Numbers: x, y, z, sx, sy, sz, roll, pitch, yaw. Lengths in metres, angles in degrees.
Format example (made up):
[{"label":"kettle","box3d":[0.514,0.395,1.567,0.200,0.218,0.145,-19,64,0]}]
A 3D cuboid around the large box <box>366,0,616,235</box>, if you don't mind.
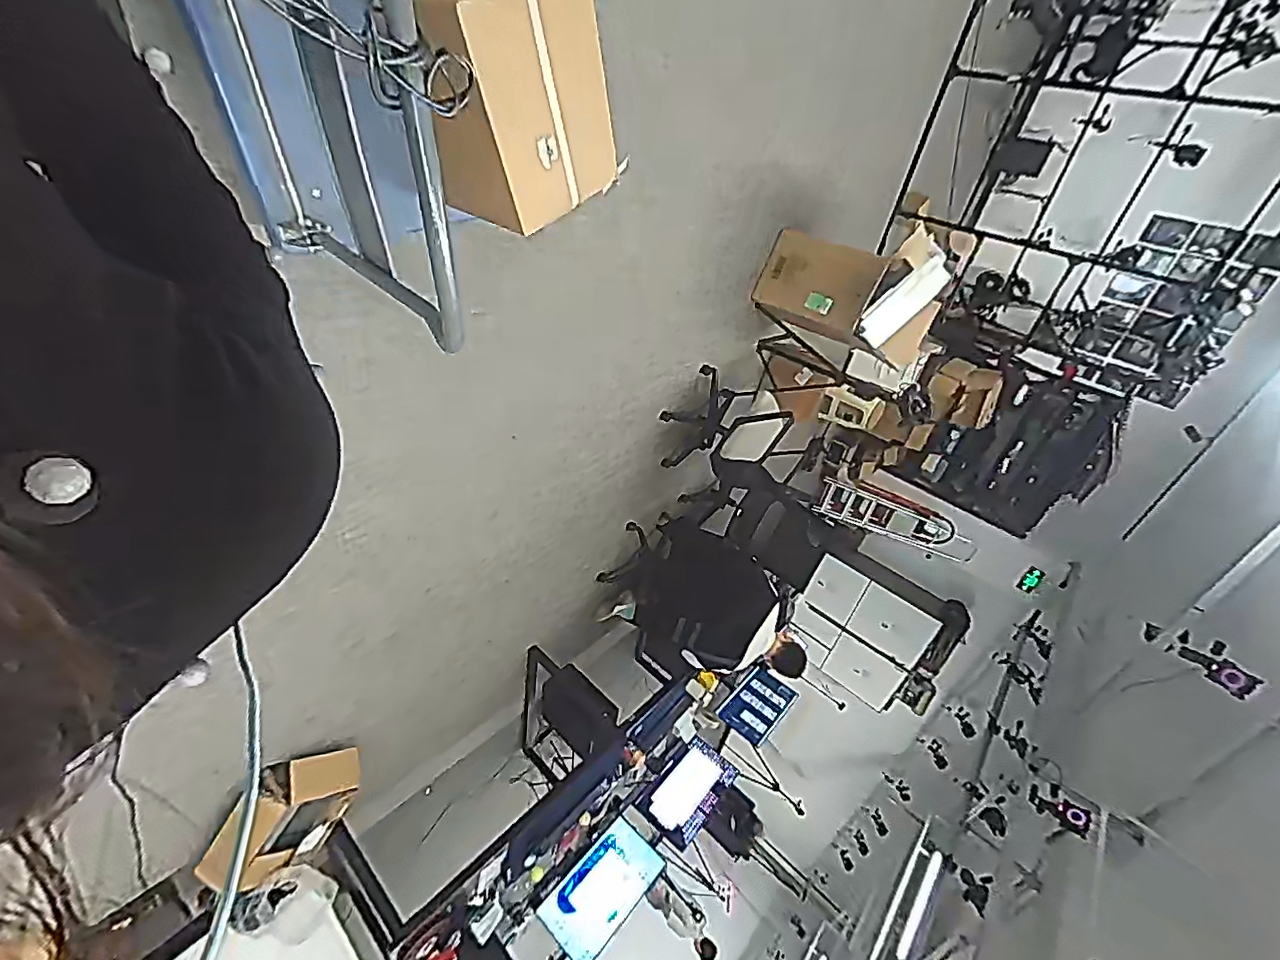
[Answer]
[{"label":"large box","box3d":[-0.293,-0.825,1.167,0.320,0.320,0.408,-44,149,-22]}]
